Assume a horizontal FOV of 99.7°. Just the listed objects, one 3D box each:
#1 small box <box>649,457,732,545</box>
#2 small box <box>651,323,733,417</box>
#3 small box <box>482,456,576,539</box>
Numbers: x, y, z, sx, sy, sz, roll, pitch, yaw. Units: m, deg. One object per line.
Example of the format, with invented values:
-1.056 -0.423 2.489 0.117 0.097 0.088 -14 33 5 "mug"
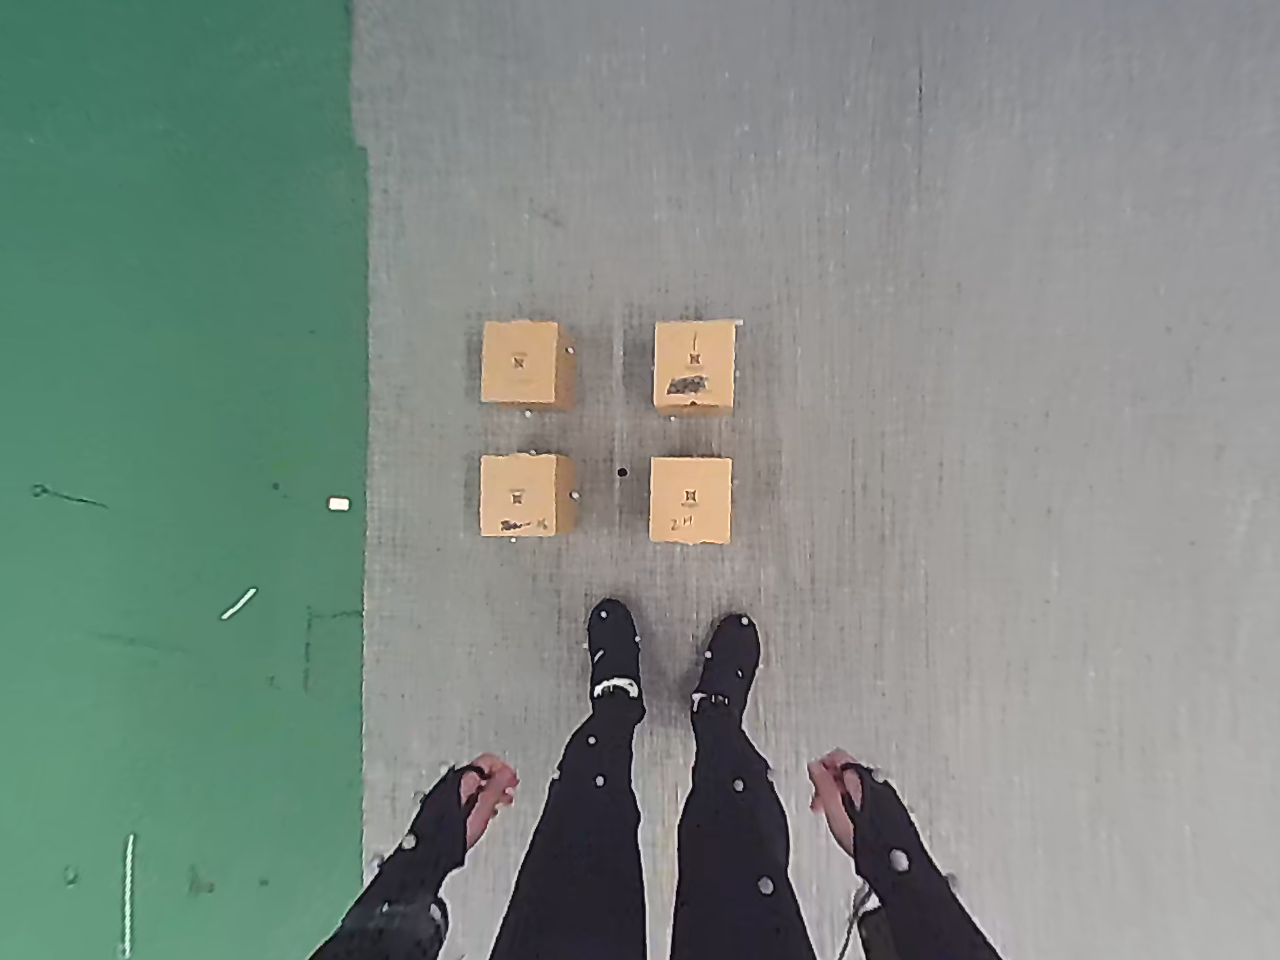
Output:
0.111 0.045 1.178 0.168 0.176 0.179 1 89 8 "small box"
0.117 -0.233 1.183 0.168 0.176 0.179 1 88 7 "small box"
-0.245 0.041 1.224 0.168 0.176 0.179 0 88 7 "small box"
